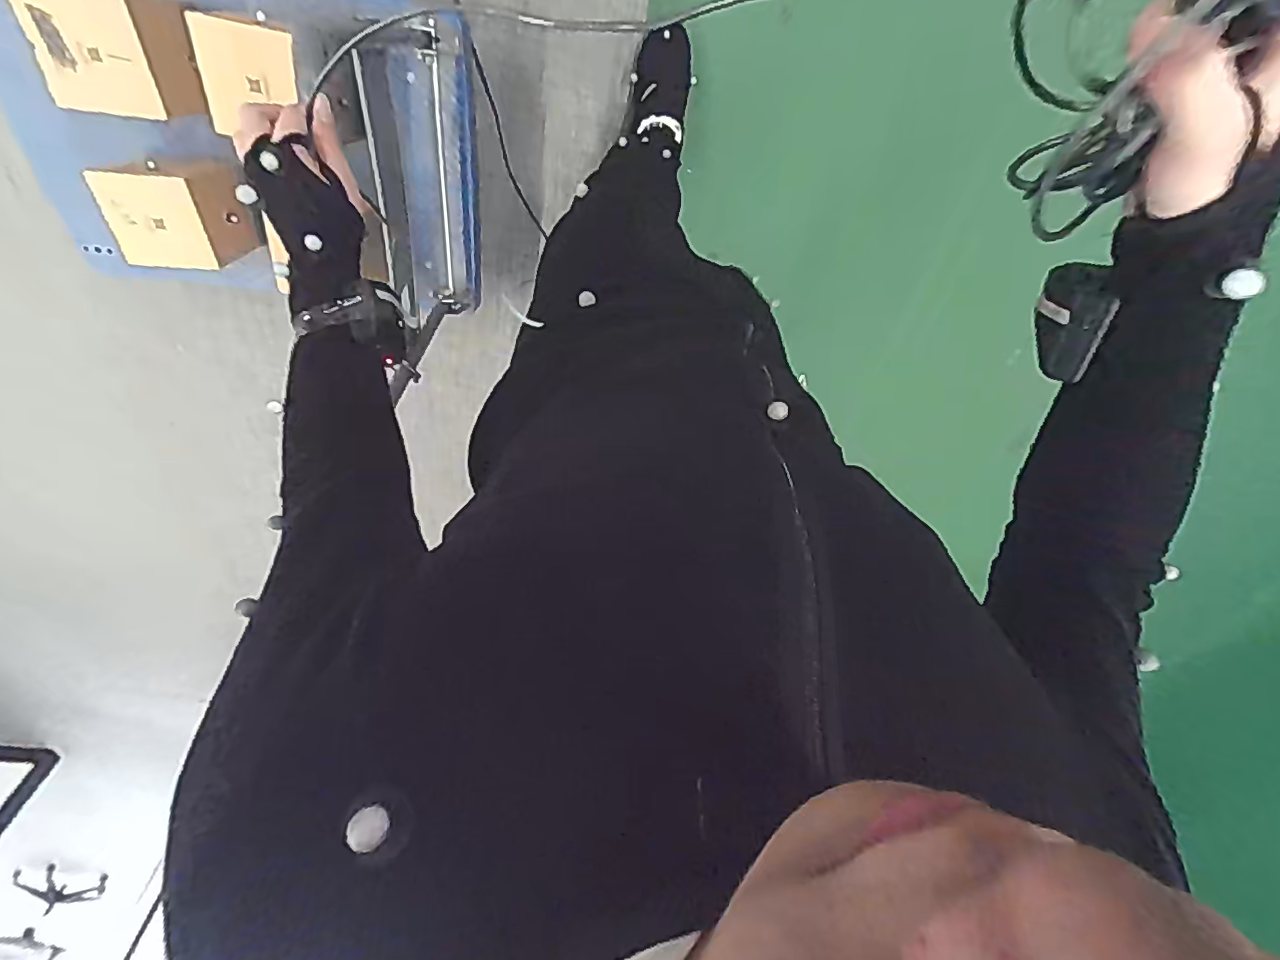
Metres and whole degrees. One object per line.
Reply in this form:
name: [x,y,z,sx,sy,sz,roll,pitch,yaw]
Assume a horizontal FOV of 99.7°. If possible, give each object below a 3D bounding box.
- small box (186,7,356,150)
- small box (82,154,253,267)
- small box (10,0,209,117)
small box: [-0.632,-0.704,0.954,0.179,0.176,0.168,7,129,-8]
small box: [-0.915,-0.539,1.076,0.179,0.176,0.168,3,128,-4]
small box: [-0.877,-0.735,0.918,0.179,0.176,0.168,4,130,-6]
